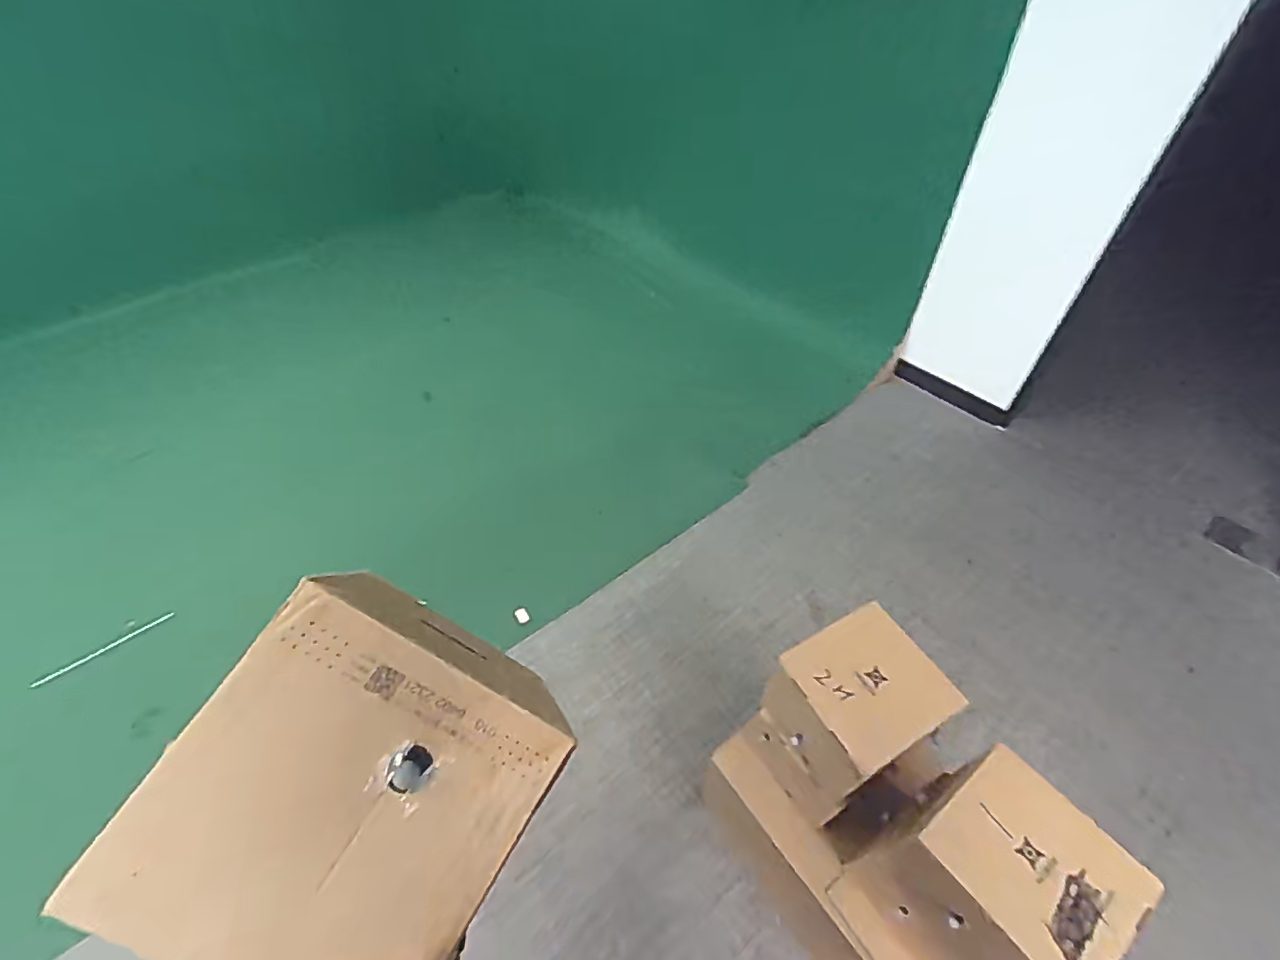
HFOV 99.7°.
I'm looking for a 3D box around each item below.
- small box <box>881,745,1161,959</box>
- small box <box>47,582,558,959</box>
[{"bbox_3d":[0.419,0.452,0.626,0.168,0.176,0.179,-30,52,-21],"label":"small box"},{"bbox_3d":[-0.171,0.177,0.344,0.168,0.179,0.176,34,72,-10],"label":"small box"}]
